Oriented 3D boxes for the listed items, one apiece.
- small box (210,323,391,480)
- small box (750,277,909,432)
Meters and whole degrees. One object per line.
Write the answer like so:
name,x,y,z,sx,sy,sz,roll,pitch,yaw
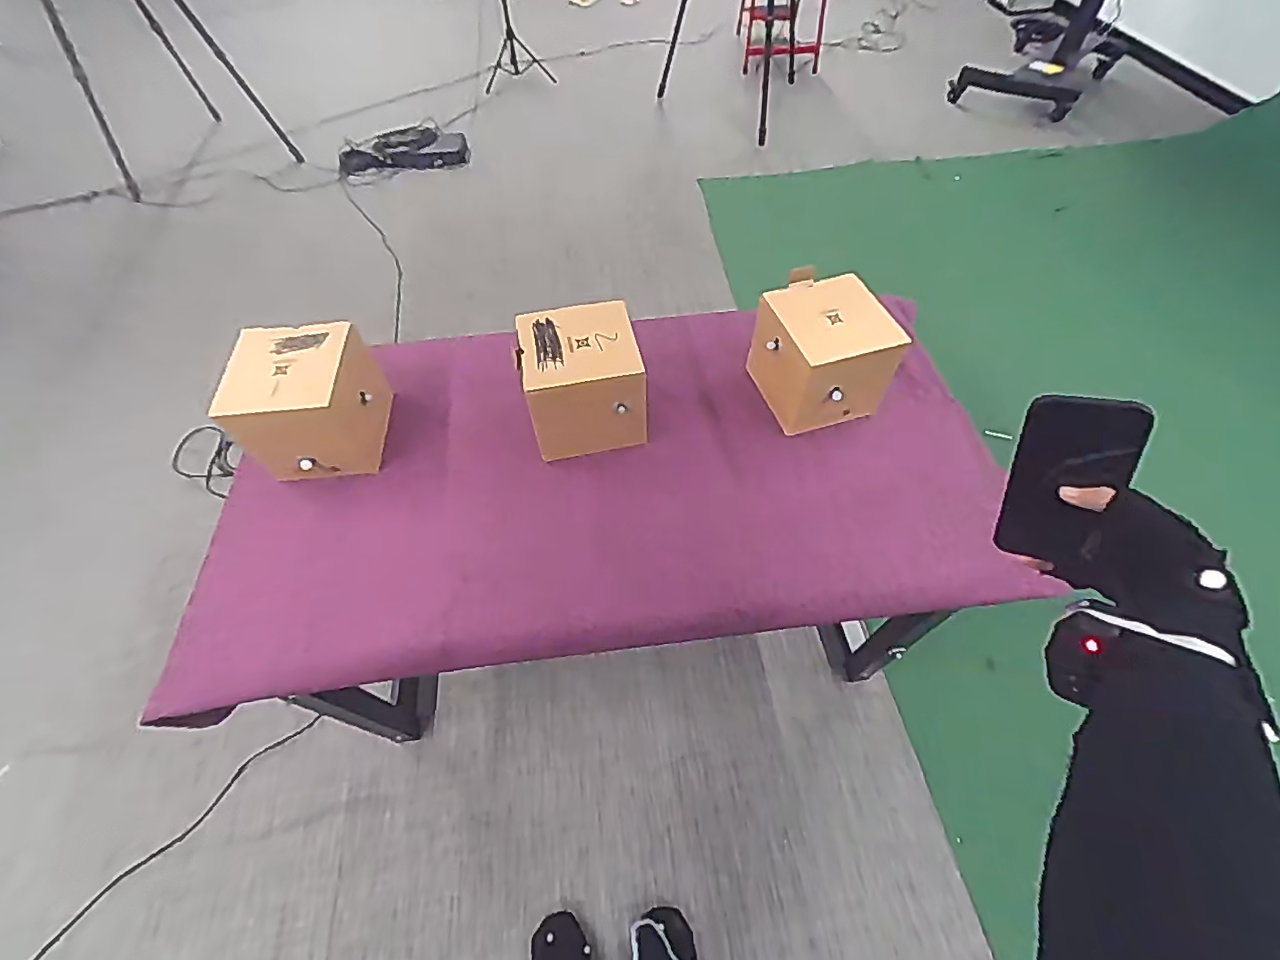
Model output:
small box,-0.512,-0.120,0.849,0.168,0.176,0.179,-5,58,-2
small box,0.297,-0.198,0.890,0.168,0.176,0.179,-15,57,-8
